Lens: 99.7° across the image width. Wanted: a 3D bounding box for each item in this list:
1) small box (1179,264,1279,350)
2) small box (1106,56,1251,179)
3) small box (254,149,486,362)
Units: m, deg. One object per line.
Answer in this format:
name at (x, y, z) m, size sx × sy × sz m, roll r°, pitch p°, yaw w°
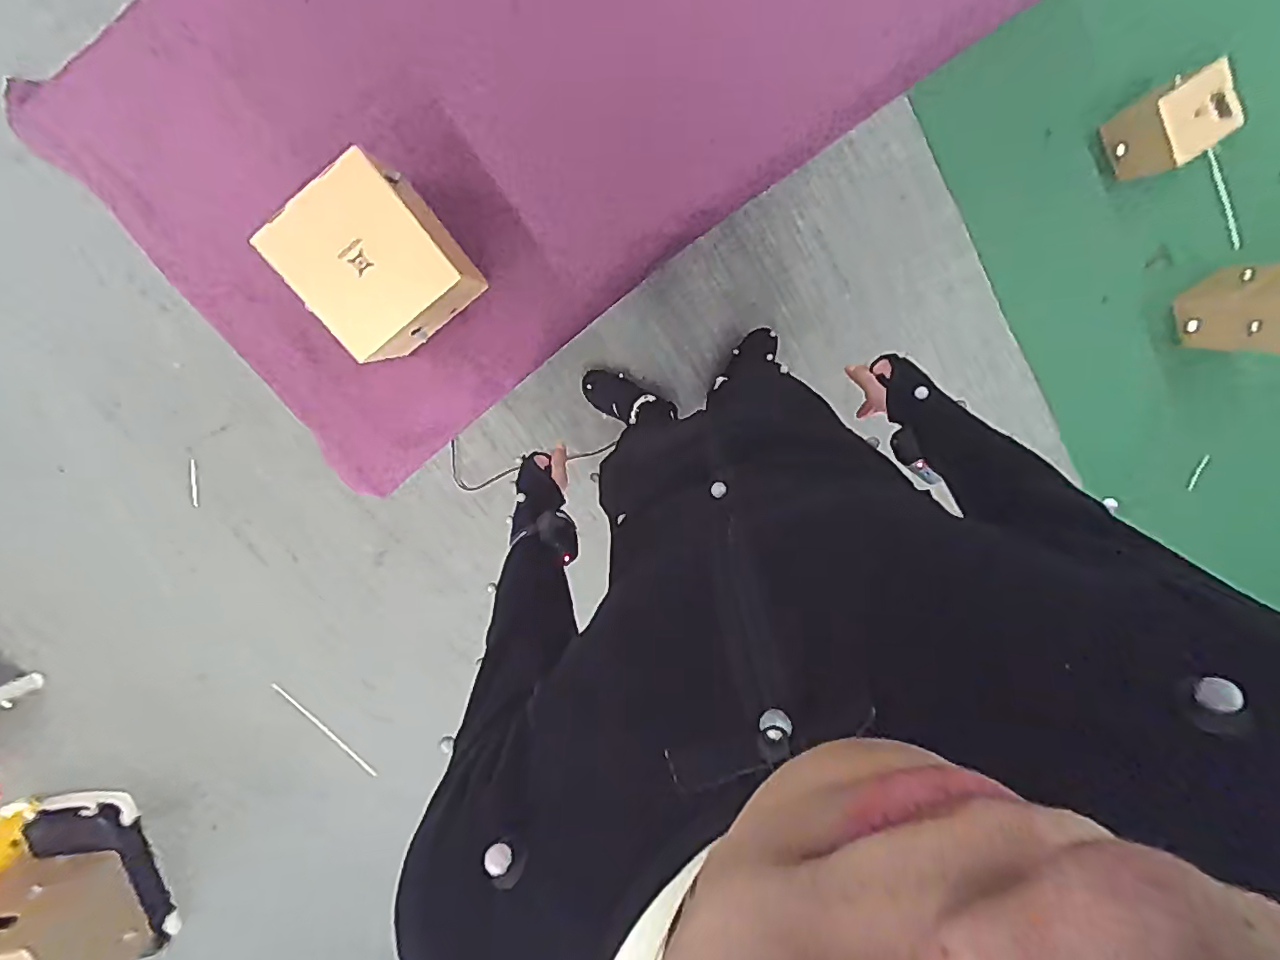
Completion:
small box at (1.675, -0.483, 1.500) m, size 0.179 × 0.176 × 0.168 m, roll -32°, pitch 105°, yaw 6°
small box at (1.346, -0.900, 1.362) m, size 0.179 × 0.176 × 0.168 m, roll -34°, pitch 104°, yaw 8°
small box at (-0.327, -0.276, 0.700) m, size 0.168 × 0.176 × 0.179 m, roll -37°, pitch 104°, yaw 7°
